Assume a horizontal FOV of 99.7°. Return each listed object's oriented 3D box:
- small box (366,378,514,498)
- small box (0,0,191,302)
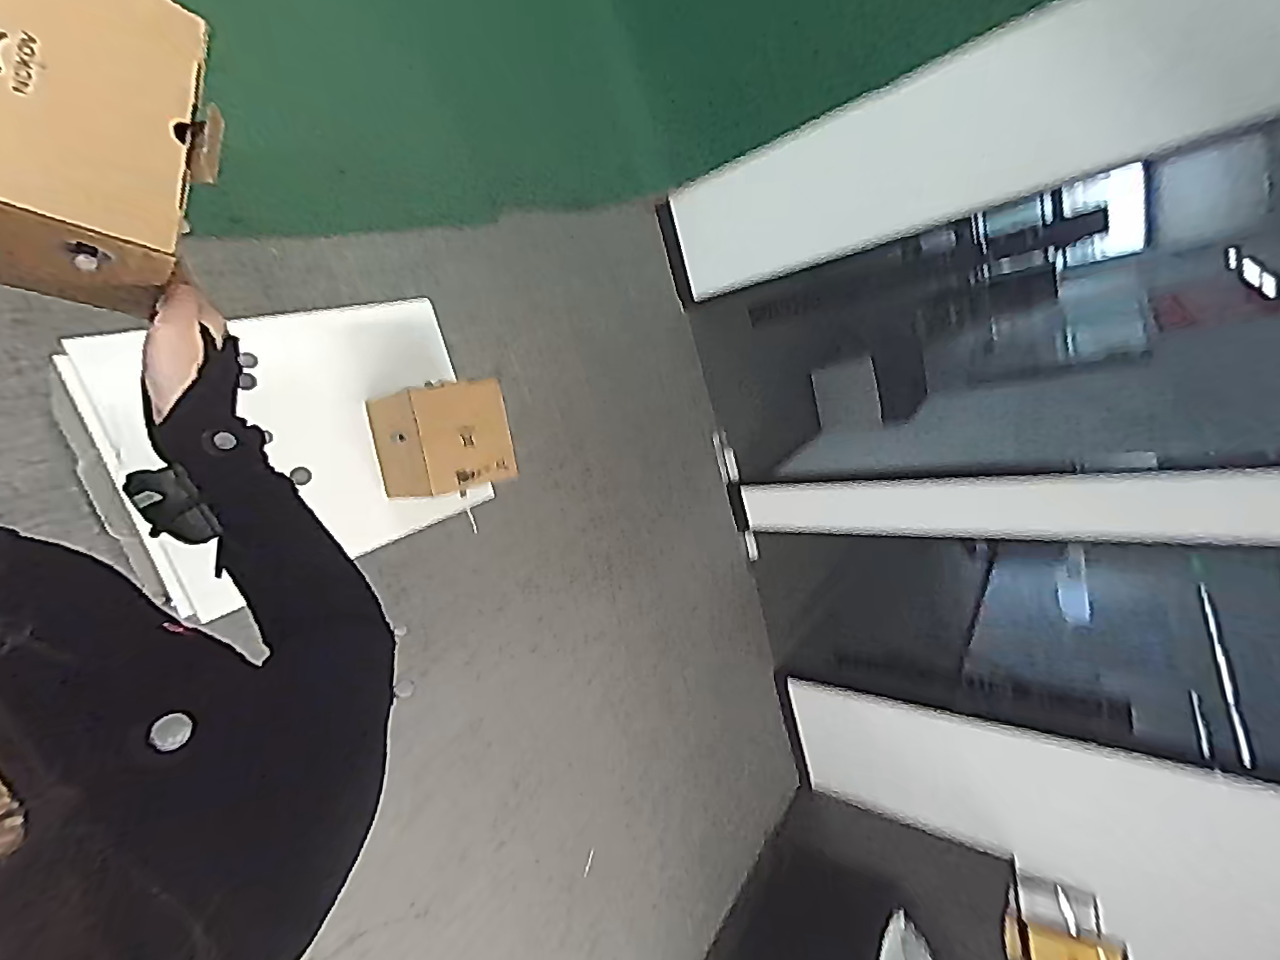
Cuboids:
[{"bbox_3d":[-0.349,-0.071,0.938,0.168,0.176,0.179,-18,101,-47],"label":"small box"},{"bbox_3d":[-0.413,-0.230,0.337,0.179,0.176,0.168,7,82,-47],"label":"small box"}]
